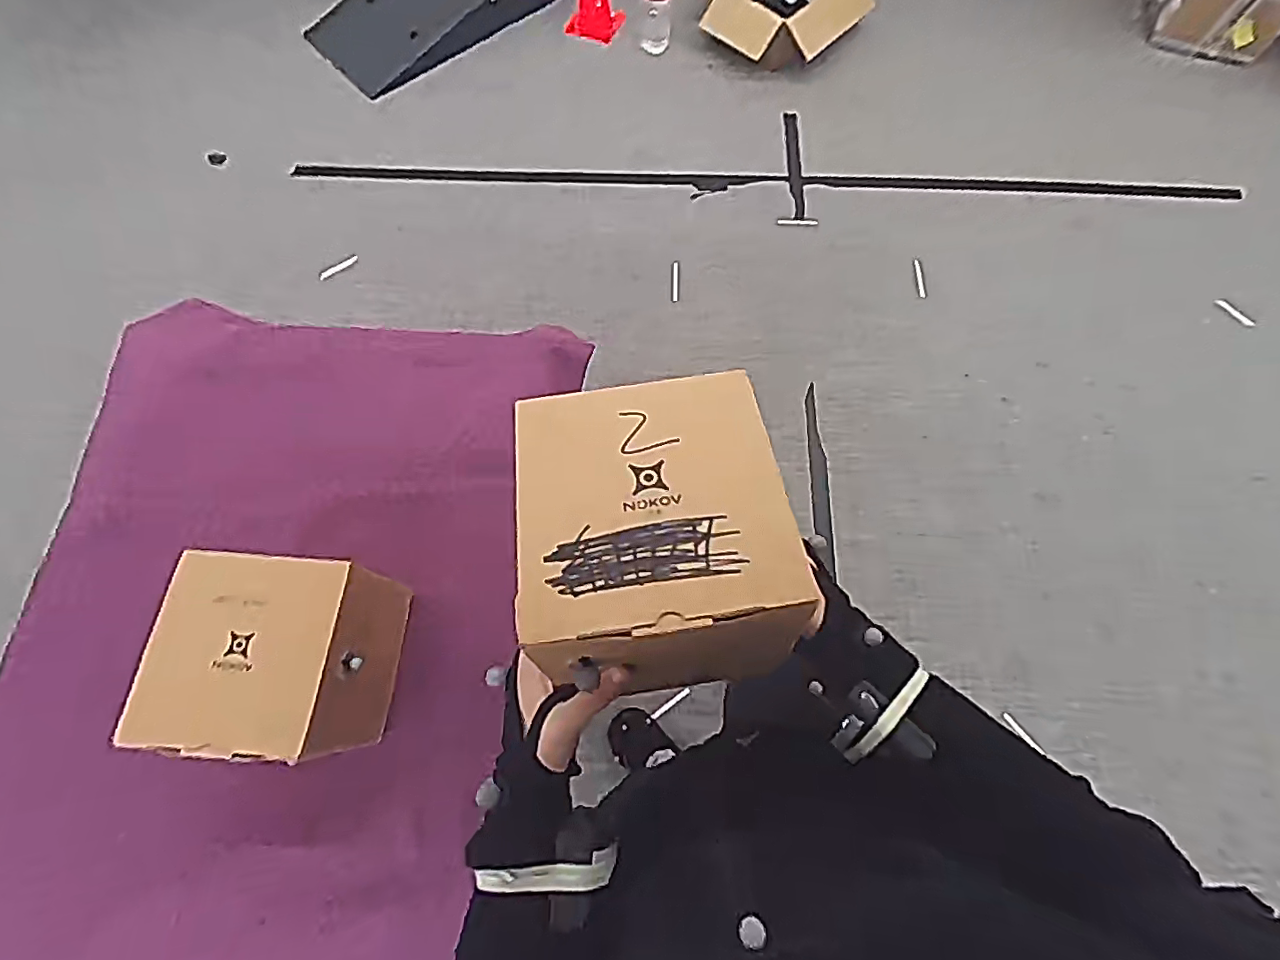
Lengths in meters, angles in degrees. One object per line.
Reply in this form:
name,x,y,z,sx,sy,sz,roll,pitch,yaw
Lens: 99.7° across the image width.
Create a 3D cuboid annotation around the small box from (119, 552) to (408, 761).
small box,-0.368,0.184,0.572,0.168,0.176,0.179,4,69,0
